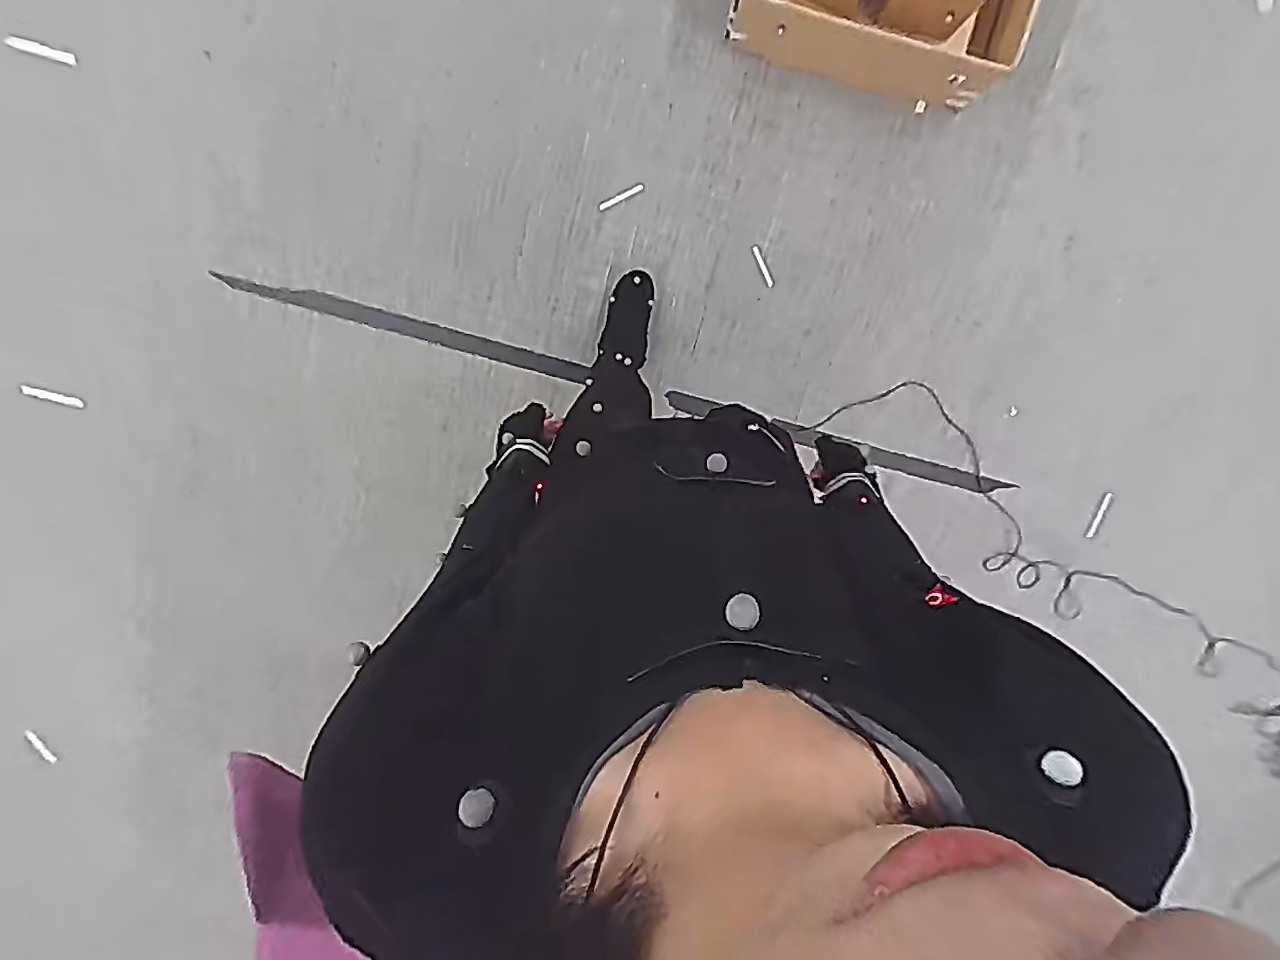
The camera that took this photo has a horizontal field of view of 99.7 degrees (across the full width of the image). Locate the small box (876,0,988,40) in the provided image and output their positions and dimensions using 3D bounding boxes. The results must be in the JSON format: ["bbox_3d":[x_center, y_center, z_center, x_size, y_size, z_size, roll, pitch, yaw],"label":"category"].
[{"bbox_3d":[0.640,-1.084,1.149,0.179,0.176,0.168,11,102,-2],"label":"small box"}]

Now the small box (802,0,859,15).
[{"bbox_3d":[0.421,-1.131,1.130,0.179,0.176,0.168,16,102,-5],"label":"small box"}]
